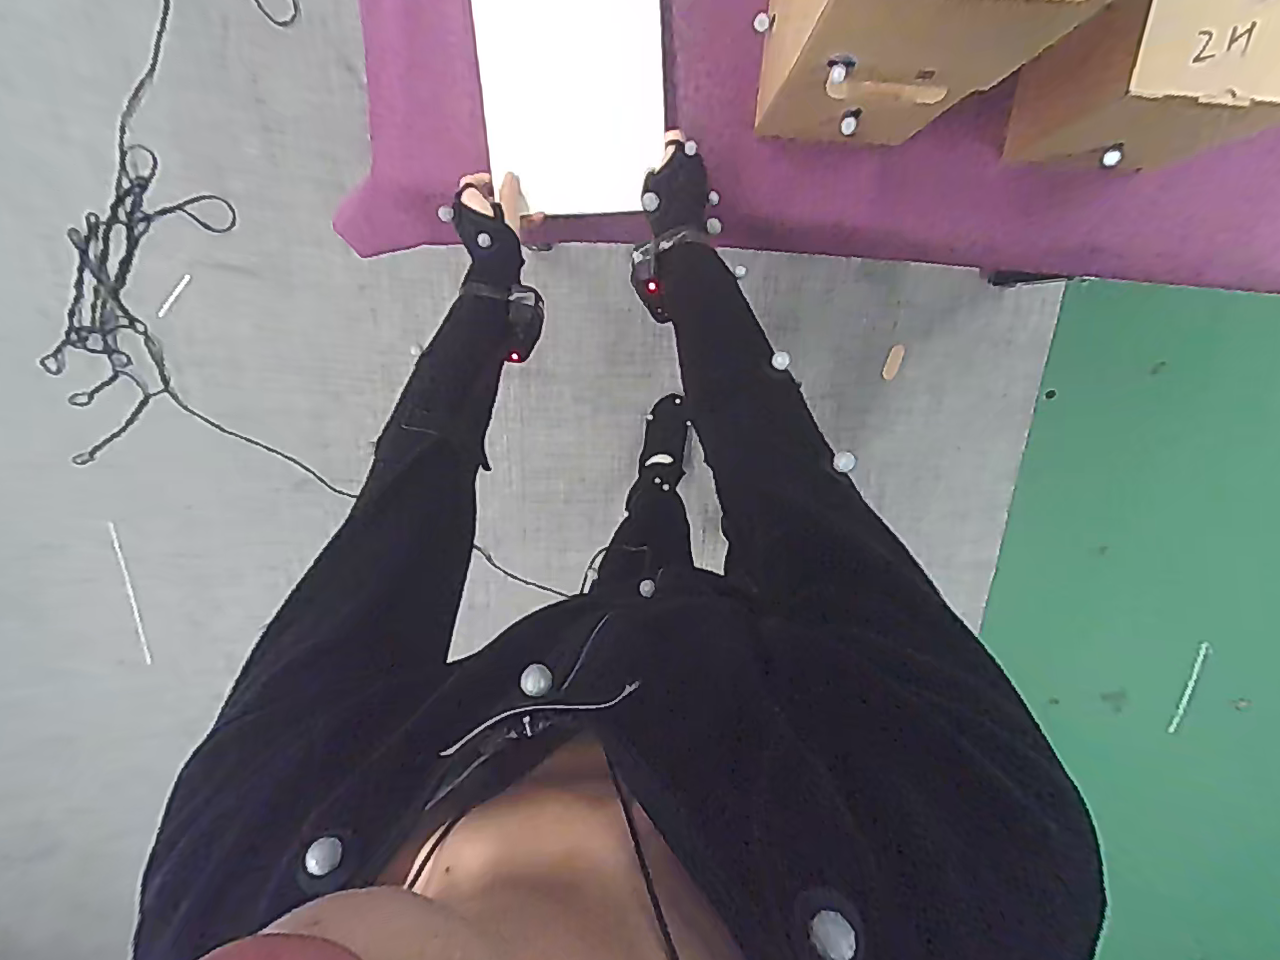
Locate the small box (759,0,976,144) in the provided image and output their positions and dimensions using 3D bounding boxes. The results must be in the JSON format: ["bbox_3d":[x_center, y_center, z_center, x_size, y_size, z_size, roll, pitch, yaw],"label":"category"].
[{"bbox_3d":[0.214,-0.440,0.508,0.168,0.176,0.179,4,106,0],"label":"small box"}]

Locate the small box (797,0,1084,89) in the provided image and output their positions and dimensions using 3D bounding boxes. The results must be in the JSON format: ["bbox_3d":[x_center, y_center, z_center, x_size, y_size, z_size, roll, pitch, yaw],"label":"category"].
[{"bbox_3d":[0.210,-0.389,0.351,0.168,0.176,0.179,5,105,0],"label":"small box"}]
